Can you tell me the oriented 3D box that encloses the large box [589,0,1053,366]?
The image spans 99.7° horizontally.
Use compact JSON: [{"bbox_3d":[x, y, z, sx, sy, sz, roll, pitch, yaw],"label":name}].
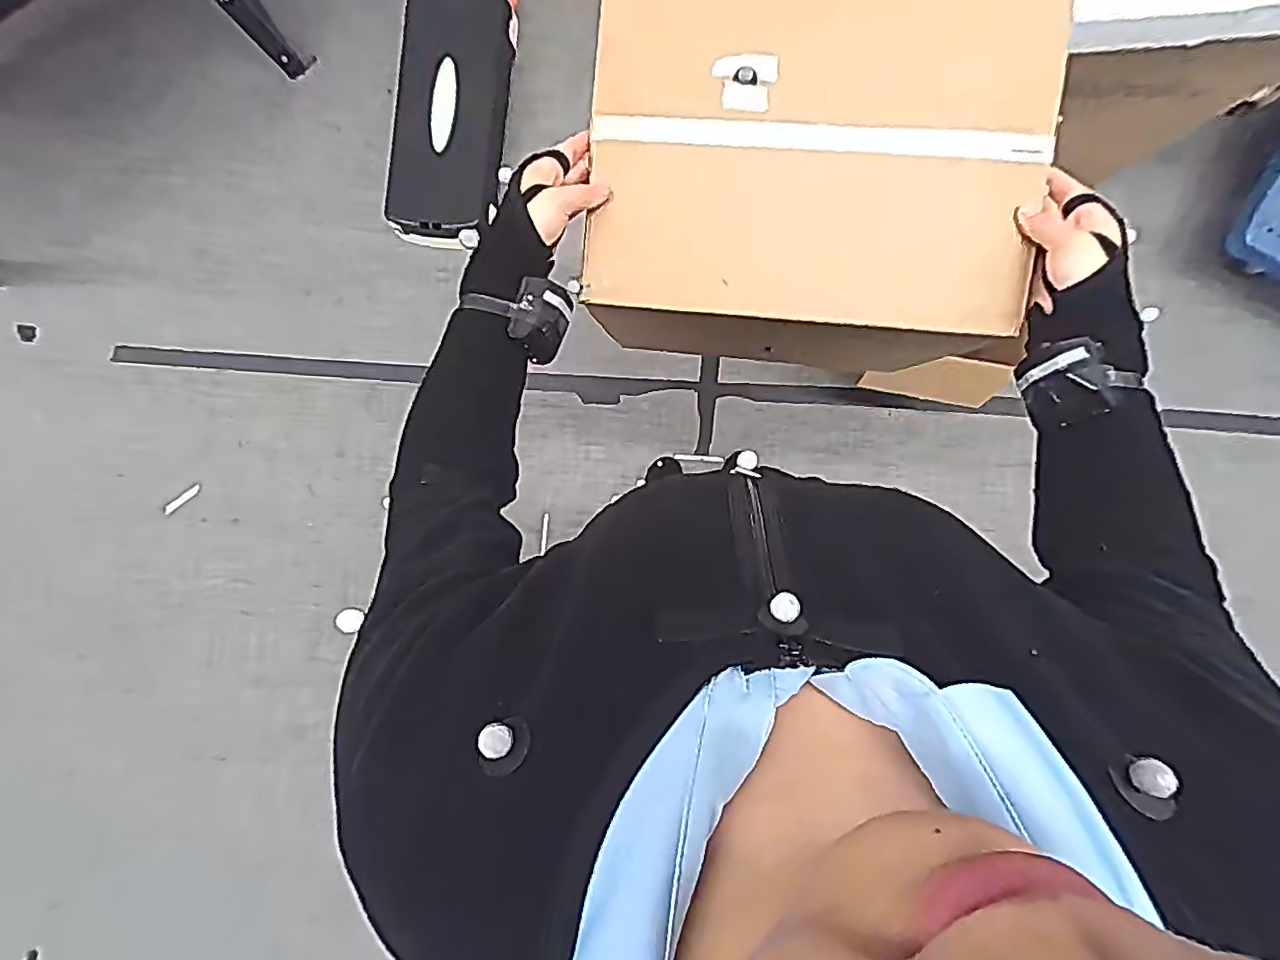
[{"bbox_3d":[0.172,-0.318,0.650,0.408,0.320,0.320,5,94,5],"label":"large box"}]
